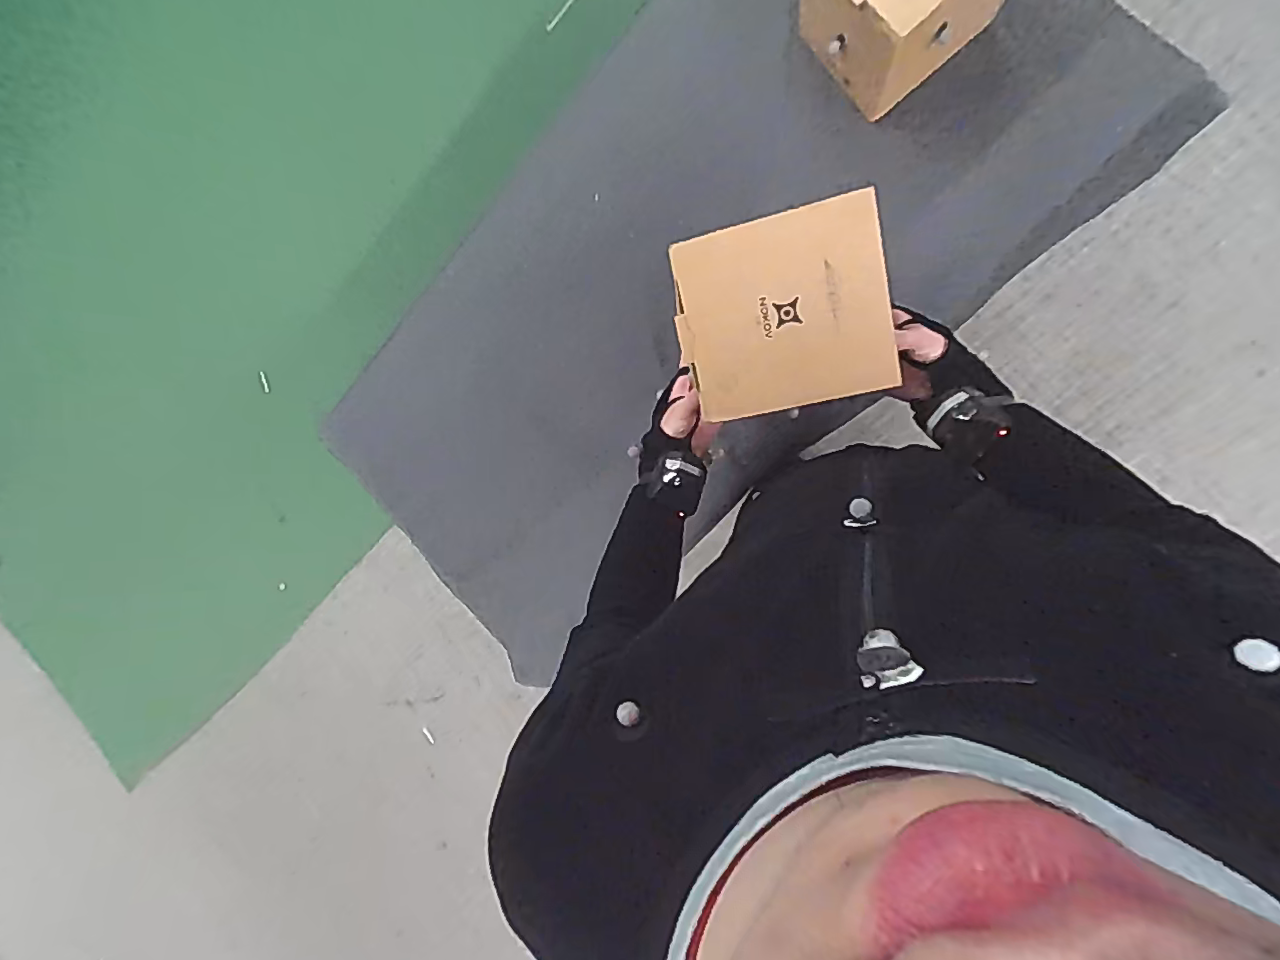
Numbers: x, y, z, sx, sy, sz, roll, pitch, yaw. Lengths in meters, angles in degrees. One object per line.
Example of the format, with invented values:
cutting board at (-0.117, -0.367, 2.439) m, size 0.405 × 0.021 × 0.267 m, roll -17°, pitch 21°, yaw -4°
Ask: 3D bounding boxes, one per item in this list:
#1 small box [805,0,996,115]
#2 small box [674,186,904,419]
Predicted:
small box at (0.308, -0.582, 0.628) m, size 0.179 × 0.176 × 0.168 m, roll -37°, pitch 87°, yaw 16°
small box at (0.146, -0.165, 0.549) m, size 0.179 × 0.176 × 0.168 m, roll -11°, pitch 102°, yaw 14°
